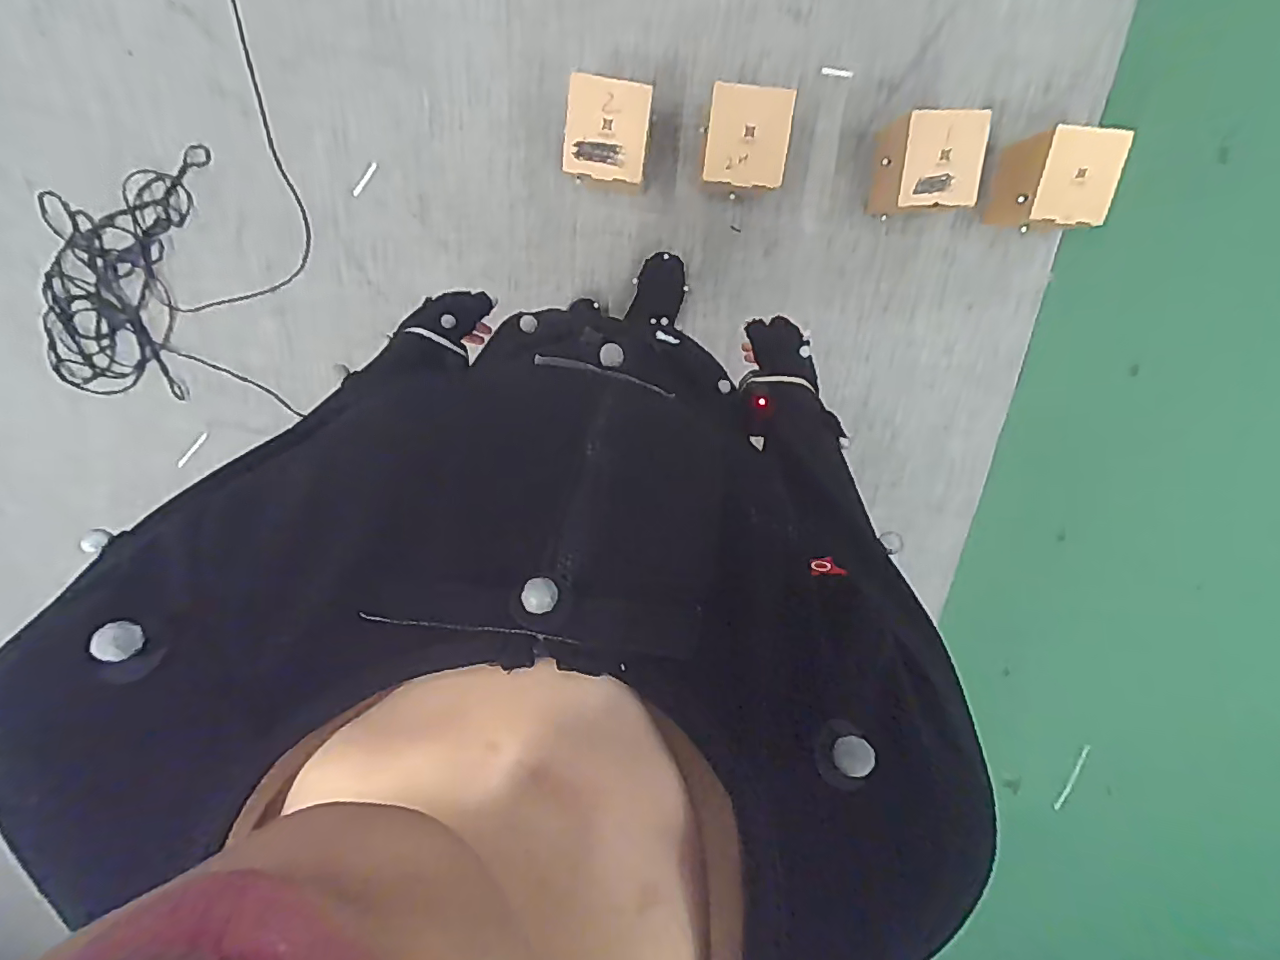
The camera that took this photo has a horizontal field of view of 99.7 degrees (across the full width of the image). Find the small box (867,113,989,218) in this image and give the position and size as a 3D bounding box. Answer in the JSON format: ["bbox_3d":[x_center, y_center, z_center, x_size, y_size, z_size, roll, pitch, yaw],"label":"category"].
[{"bbox_3d":[0.618,-0.679,1.186,0.168,0.176,0.179,0,109,-1],"label":"small box"}]

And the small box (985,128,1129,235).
[{"bbox_3d":[0.909,-0.653,1.200,0.168,0.176,0.179,4,110,-1],"label":"small box"}]

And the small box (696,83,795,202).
[{"bbox_3d":[0.218,-0.716,1.164,0.168,0.176,0.179,6,111,-2],"label":"small box"}]
